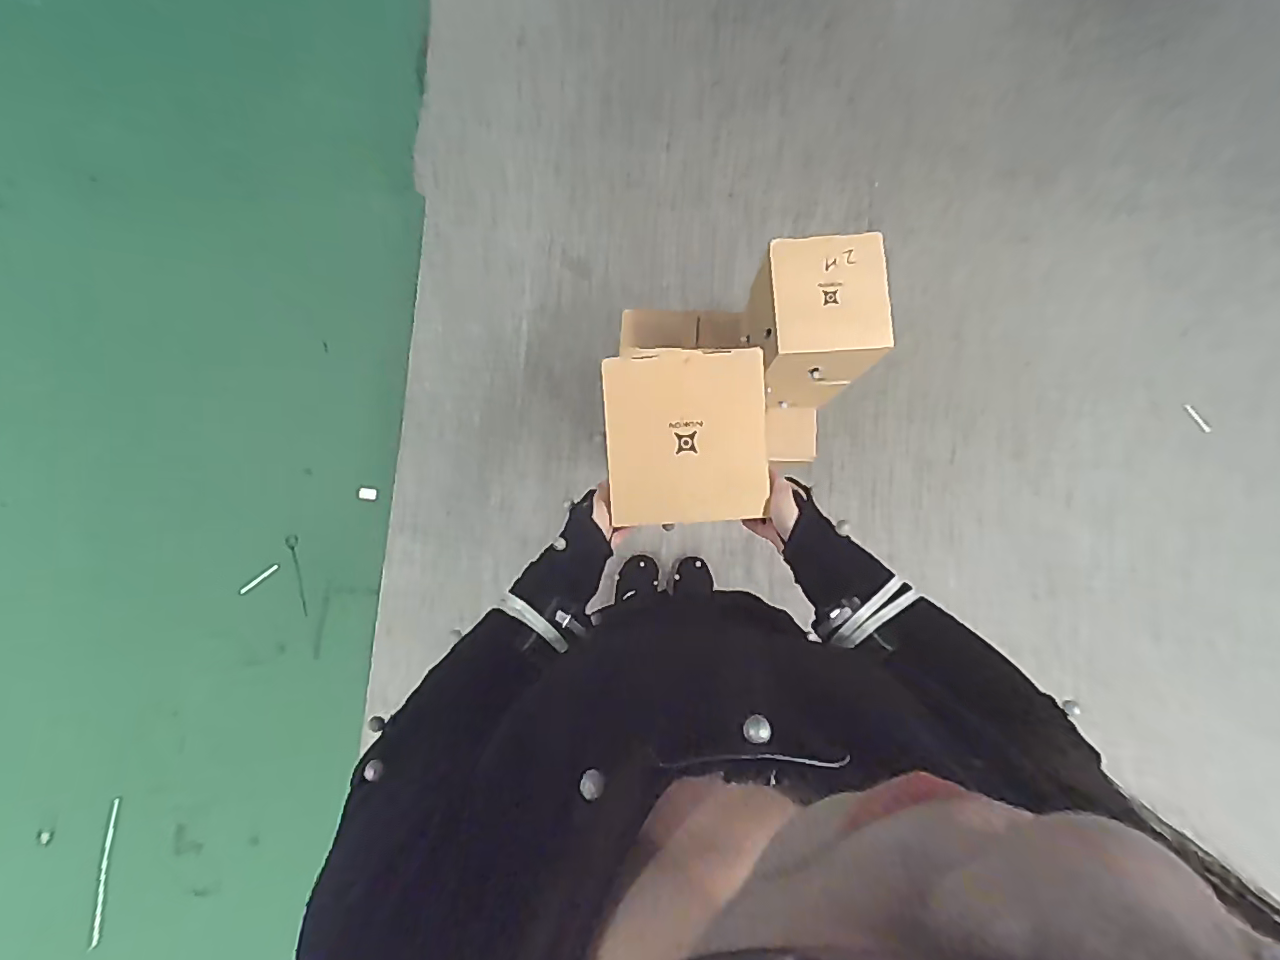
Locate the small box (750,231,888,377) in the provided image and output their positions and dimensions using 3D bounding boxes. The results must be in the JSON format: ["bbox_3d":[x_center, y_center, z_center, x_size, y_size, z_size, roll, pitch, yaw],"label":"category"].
[{"bbox_3d":[0.274,-0.268,0.862,0.168,0.176,0.179,-3,84,1],"label":"small box"}]

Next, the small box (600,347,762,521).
[{"bbox_3d":[0.047,-0.051,0.642,0.168,0.176,0.179,-4,92,2],"label":"small box"}]
